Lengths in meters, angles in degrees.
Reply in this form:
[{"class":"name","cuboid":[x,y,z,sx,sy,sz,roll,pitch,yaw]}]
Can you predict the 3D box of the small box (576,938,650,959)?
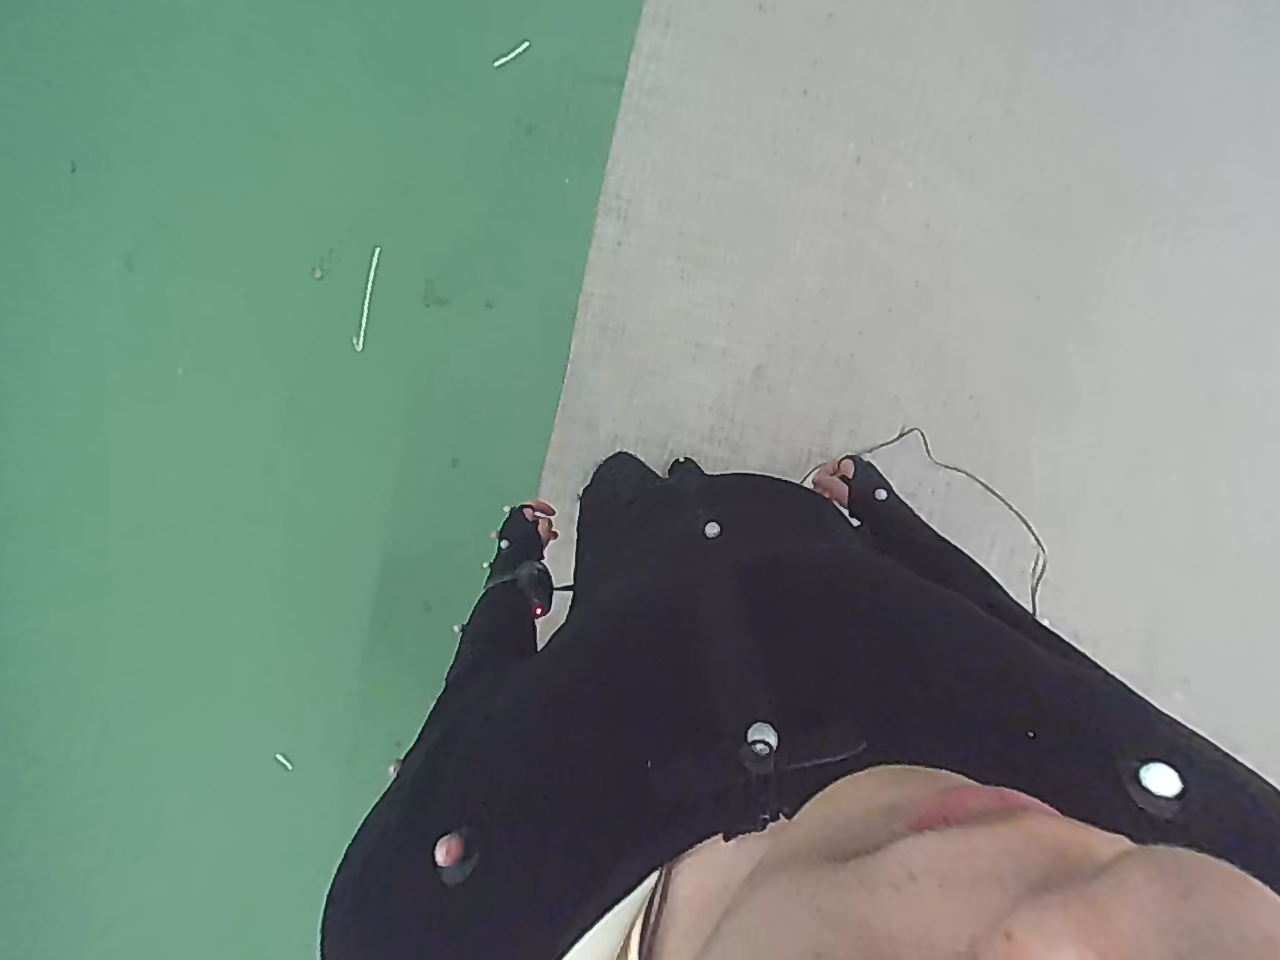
[{"class":"small box","cuboid":[-0.053,0.943,0.920,0.168,0.176,0.179,14,98,5]}]
